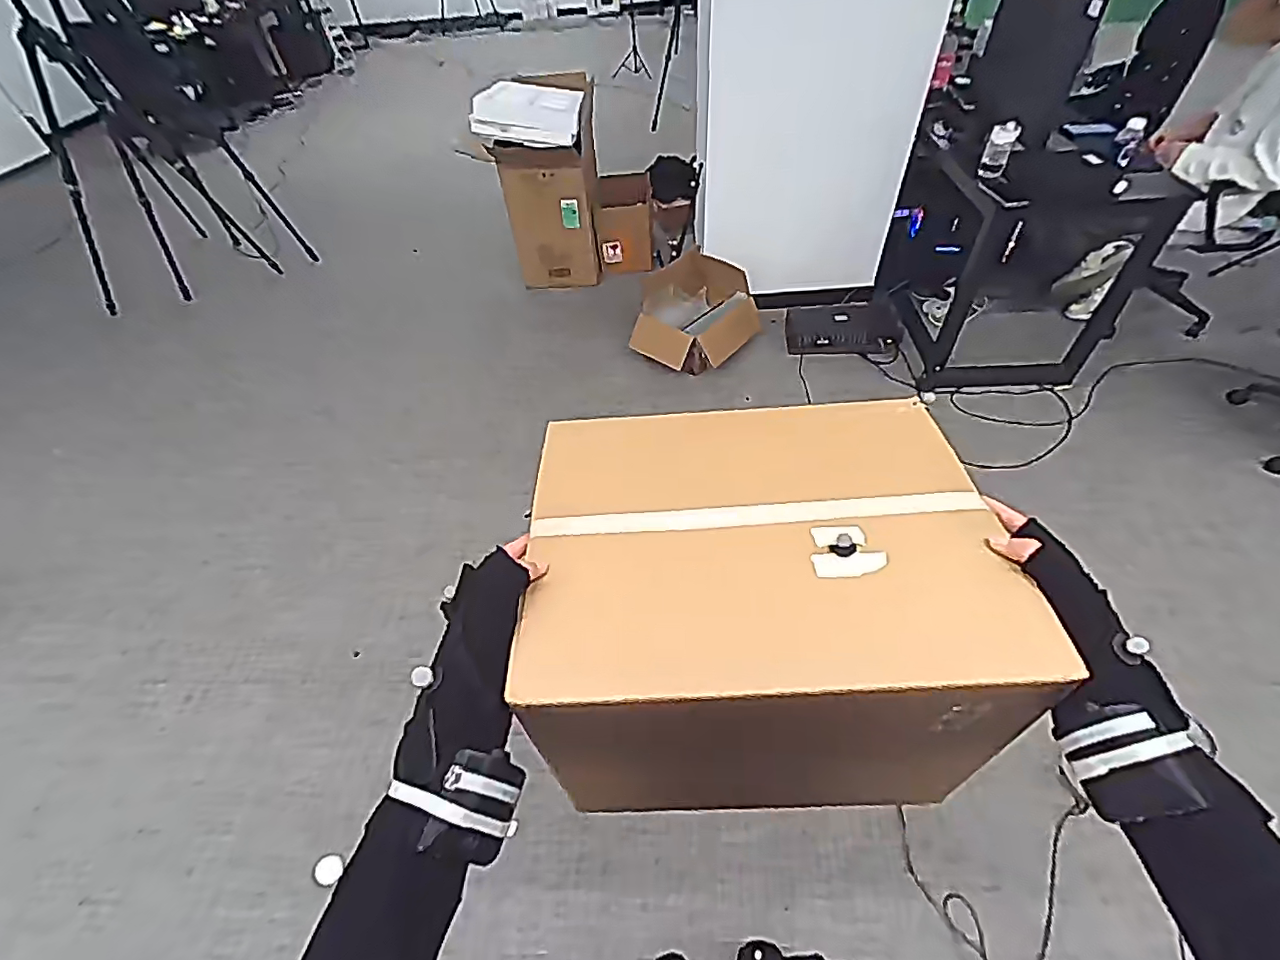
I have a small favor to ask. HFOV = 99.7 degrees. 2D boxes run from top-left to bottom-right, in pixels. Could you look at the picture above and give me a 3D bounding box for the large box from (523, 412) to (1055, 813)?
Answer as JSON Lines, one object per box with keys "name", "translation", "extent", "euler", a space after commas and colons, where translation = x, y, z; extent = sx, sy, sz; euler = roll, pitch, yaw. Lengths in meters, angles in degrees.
{"name": "large box", "translation": [0.113, 0.150, 0.607], "extent": [0.408, 0.320, 0.320], "euler": [-4, 46, 2]}
